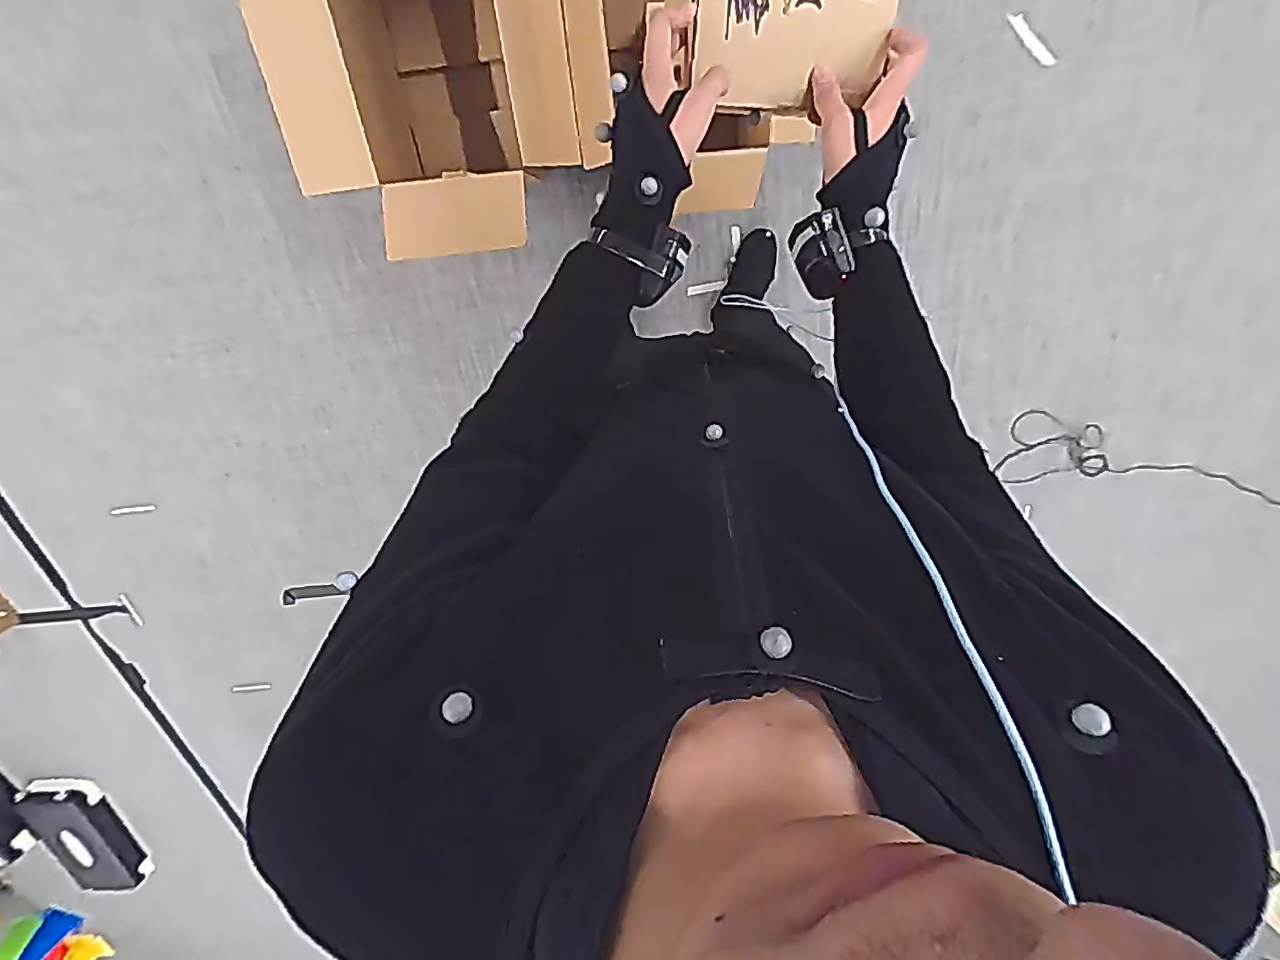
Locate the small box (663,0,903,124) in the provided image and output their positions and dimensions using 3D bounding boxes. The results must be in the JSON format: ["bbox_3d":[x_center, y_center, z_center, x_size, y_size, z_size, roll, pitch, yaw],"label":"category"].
[{"bbox_3d":[0.121,-0.435,0.502,0.179,0.176,0.168,-2,124,-8],"label":"small box"}]
